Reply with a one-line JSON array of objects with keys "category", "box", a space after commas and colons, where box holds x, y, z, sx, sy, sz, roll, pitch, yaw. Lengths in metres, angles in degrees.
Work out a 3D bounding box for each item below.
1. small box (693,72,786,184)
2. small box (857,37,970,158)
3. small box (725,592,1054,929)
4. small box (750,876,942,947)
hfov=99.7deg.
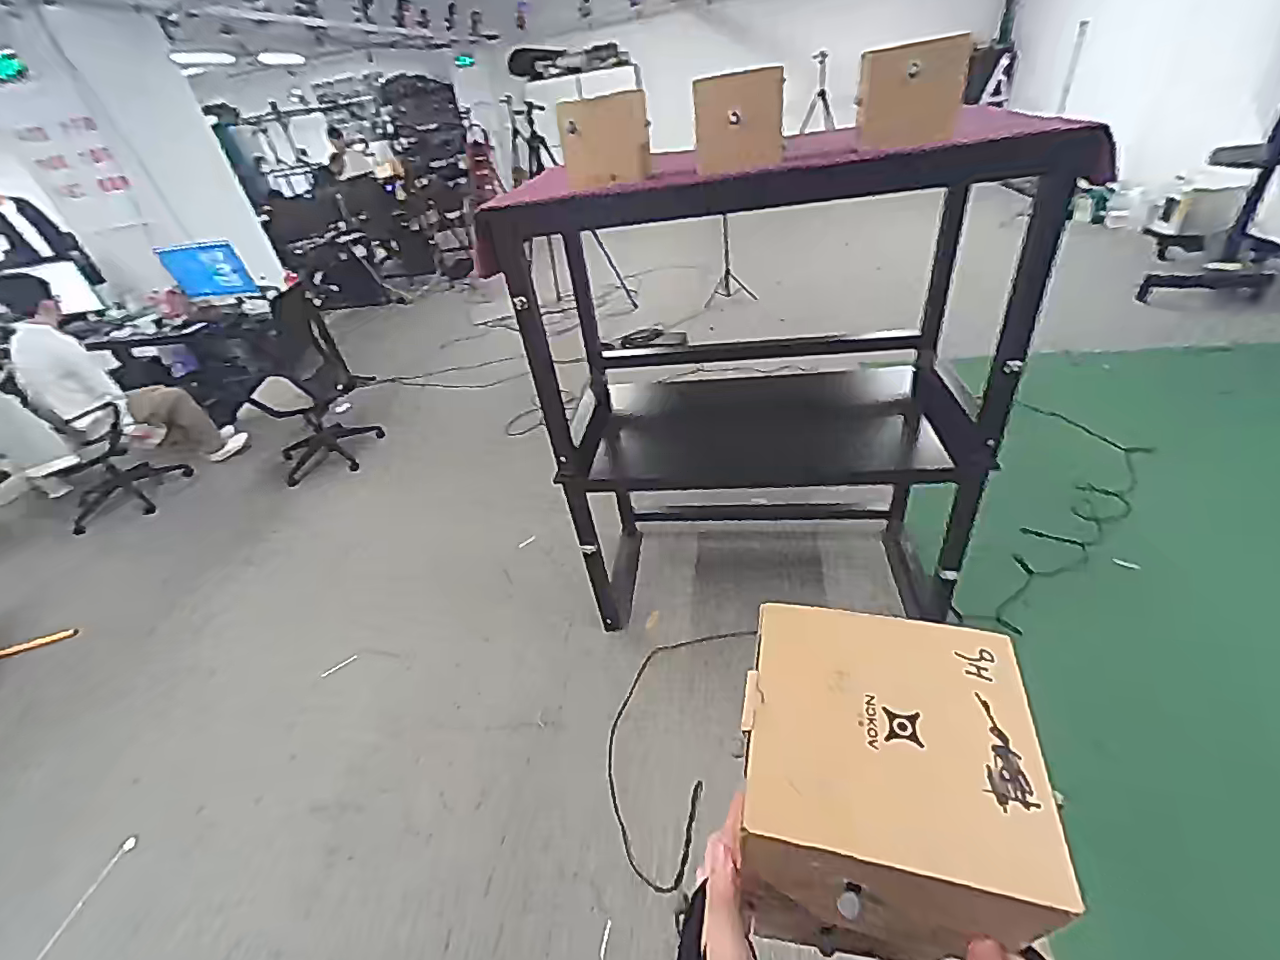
[{"category": "small box", "box": [0.218, -0.745, 1.146, 0.179, 0.176, 0.168, 0, 36, 16]}, {"category": "small box", "box": [0.536, -0.761, 1.086, 0.179, 0.176, 0.168, 1, 36, 17]}, {"category": "small box", "box": [0.166, 0.209, 0.412, 0.179, 0.176, 0.168, 4, 43, 16]}, {"category": "small box", "box": [0.194, 0.323, 0.528, 0.168, 0.176, 0.179, 1, 42, 12]}]
